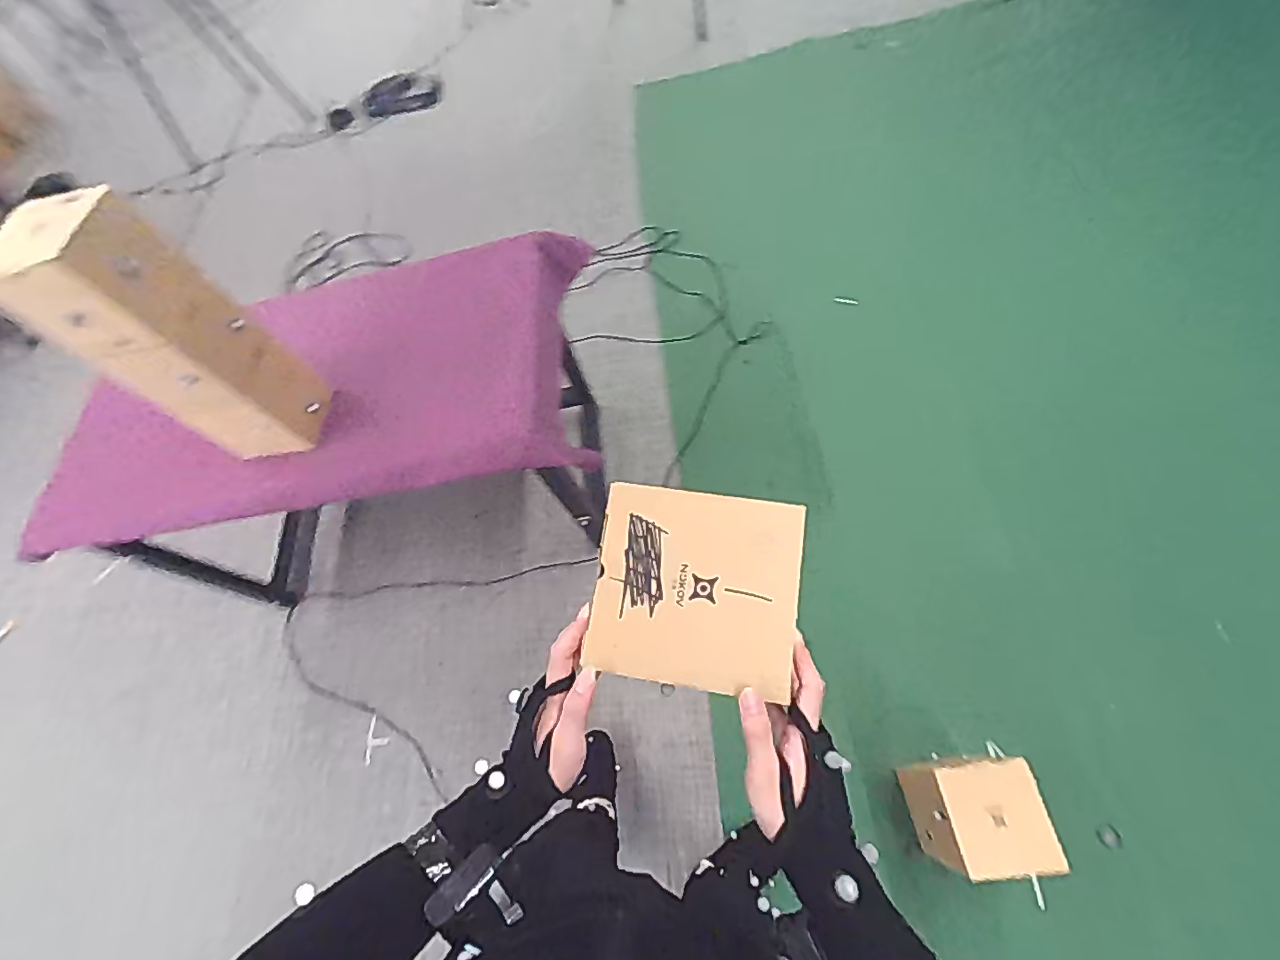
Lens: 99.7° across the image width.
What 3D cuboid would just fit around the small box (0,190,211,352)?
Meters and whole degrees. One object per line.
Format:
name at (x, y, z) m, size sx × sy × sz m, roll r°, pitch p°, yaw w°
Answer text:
small box at (-0.849, -0.324, 0.869) m, size 0.168 × 0.176 × 0.179 m, roll -5°, pitch 61°, yaw 9°

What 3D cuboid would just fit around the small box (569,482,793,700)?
small box at (0.046, 0.111, 0.540) m, size 0.179 × 0.176 × 0.168 m, roll 7°, pitch 75°, yaw 8°

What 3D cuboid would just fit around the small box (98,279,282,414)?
small box at (-0.818, -0.241, 1.006) m, size 0.179 × 0.176 × 0.168 m, roll -6°, pitch 61°, yaw 9°

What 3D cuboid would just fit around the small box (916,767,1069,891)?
small box at (0.655, 0.654, 1.029) m, size 0.168 × 0.176 × 0.179 m, roll -11°, pitch 60°, yaw 7°

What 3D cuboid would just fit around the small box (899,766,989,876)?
small box at (0.687, 0.729, 1.170) m, size 0.168 × 0.176 × 0.179 m, roll -12°, pitch 61°, yaw 6°
